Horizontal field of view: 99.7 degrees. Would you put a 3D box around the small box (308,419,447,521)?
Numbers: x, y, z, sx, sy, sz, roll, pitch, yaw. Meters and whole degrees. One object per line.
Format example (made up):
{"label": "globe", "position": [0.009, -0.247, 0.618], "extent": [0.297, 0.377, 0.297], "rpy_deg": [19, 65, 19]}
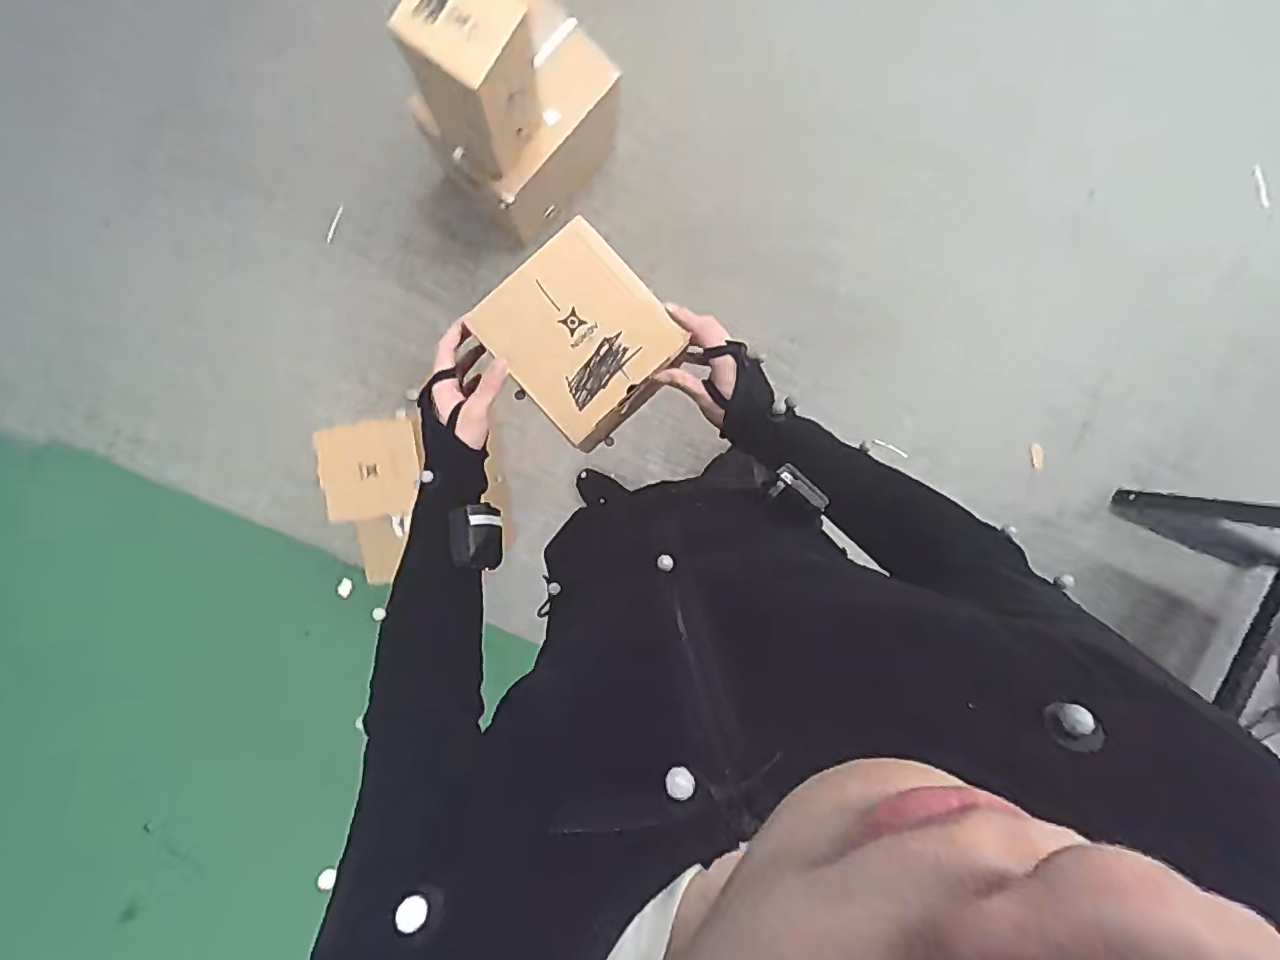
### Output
{"label": "small box", "position": [-0.488, -0.023, 1.029], "extent": [0.179, 0.176, 0.168], "rpy_deg": [-8, 96, -4]}

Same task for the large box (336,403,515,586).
{"label": "large box", "position": [-0.542, 0.023, 1.441], "extent": [0.320, 0.320, 0.408], "rpy_deg": [-9, 96, -2]}

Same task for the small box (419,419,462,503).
{"label": "small box", "position": [-0.507, -0.033, 1.191], "extent": [0.168, 0.176, 0.179], "rpy_deg": [-10, 95, -3]}

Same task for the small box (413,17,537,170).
{"label": "small box", "position": [-0.336, -0.795, 1.142], "extent": [0.179, 0.176, 0.168], "rpy_deg": [34, 91, -7]}
